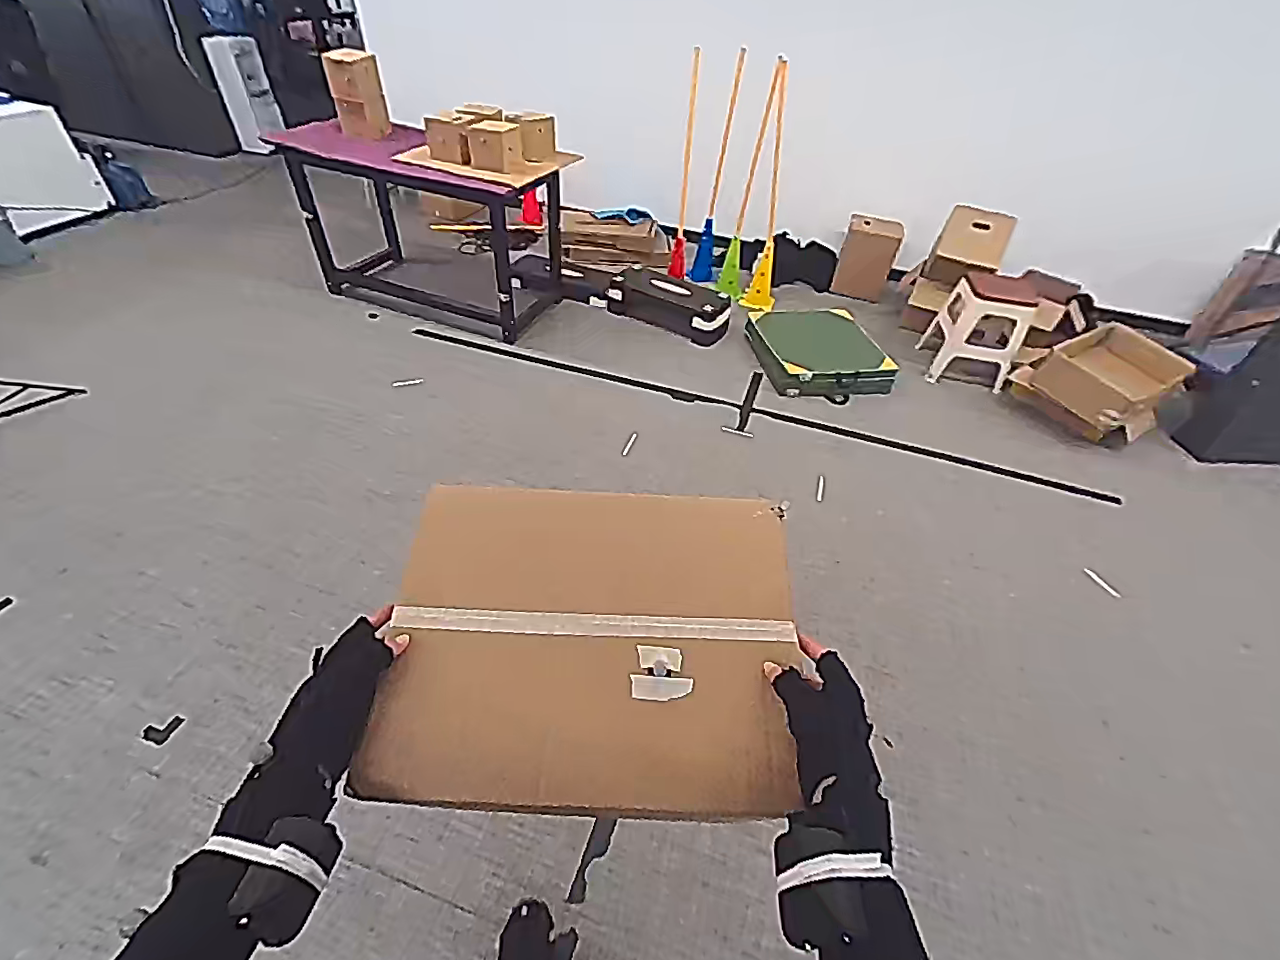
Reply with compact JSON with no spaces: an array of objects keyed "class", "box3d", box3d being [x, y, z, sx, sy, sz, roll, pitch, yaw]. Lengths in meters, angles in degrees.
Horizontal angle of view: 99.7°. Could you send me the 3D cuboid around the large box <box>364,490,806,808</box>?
[{"class":"large box","box3d":[-0.052,0.227,0.685,0.408,0.320,0.320,3,57,-1]}]
